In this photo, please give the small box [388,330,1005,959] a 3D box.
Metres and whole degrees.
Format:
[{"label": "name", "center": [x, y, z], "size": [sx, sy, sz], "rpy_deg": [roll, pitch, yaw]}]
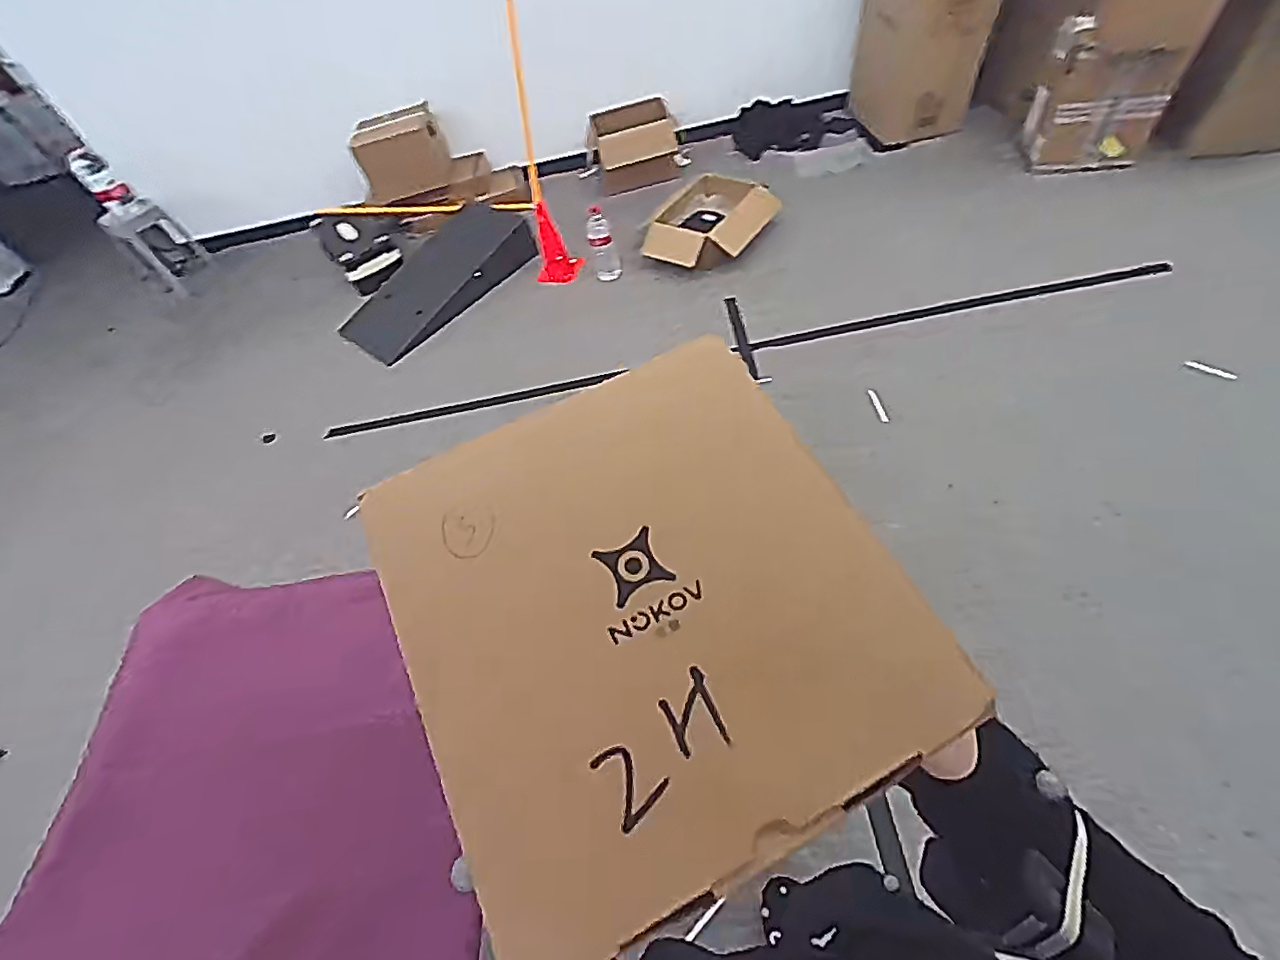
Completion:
[{"label": "small box", "center": [0.011, 0.068, 0.265], "size": [0.168, 0.176, 0.179], "rpy_deg": [-25, 66, -8]}]
